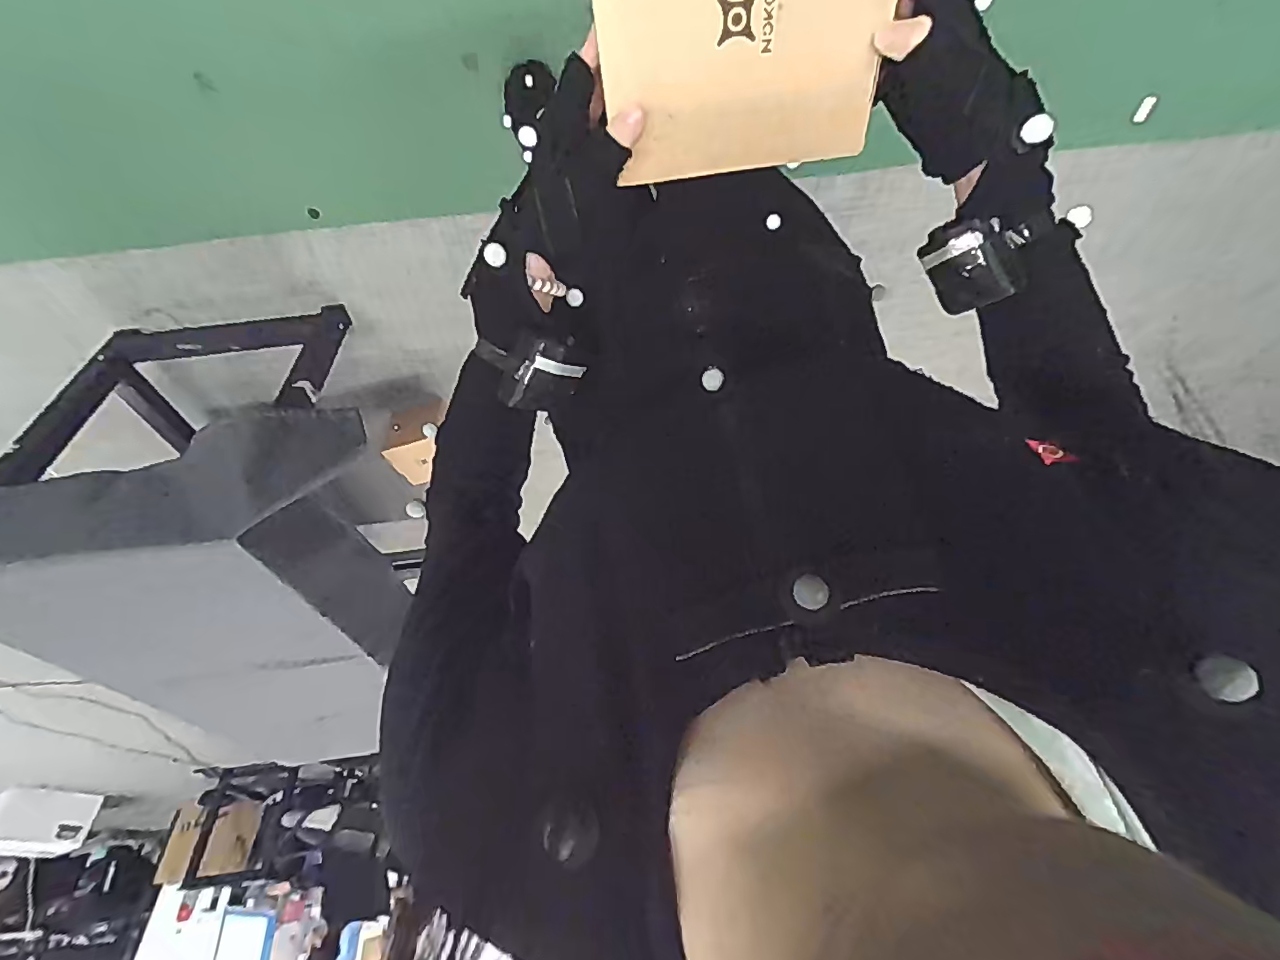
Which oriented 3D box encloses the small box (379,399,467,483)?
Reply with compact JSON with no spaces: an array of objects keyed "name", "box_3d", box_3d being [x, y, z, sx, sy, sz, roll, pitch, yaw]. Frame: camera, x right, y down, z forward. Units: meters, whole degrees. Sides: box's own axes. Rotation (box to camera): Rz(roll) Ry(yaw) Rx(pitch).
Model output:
[{"name":"small box","box_3d":[-0.646,-0.119,1.634,0.179,0.176,0.168,-14,140,9]}]
